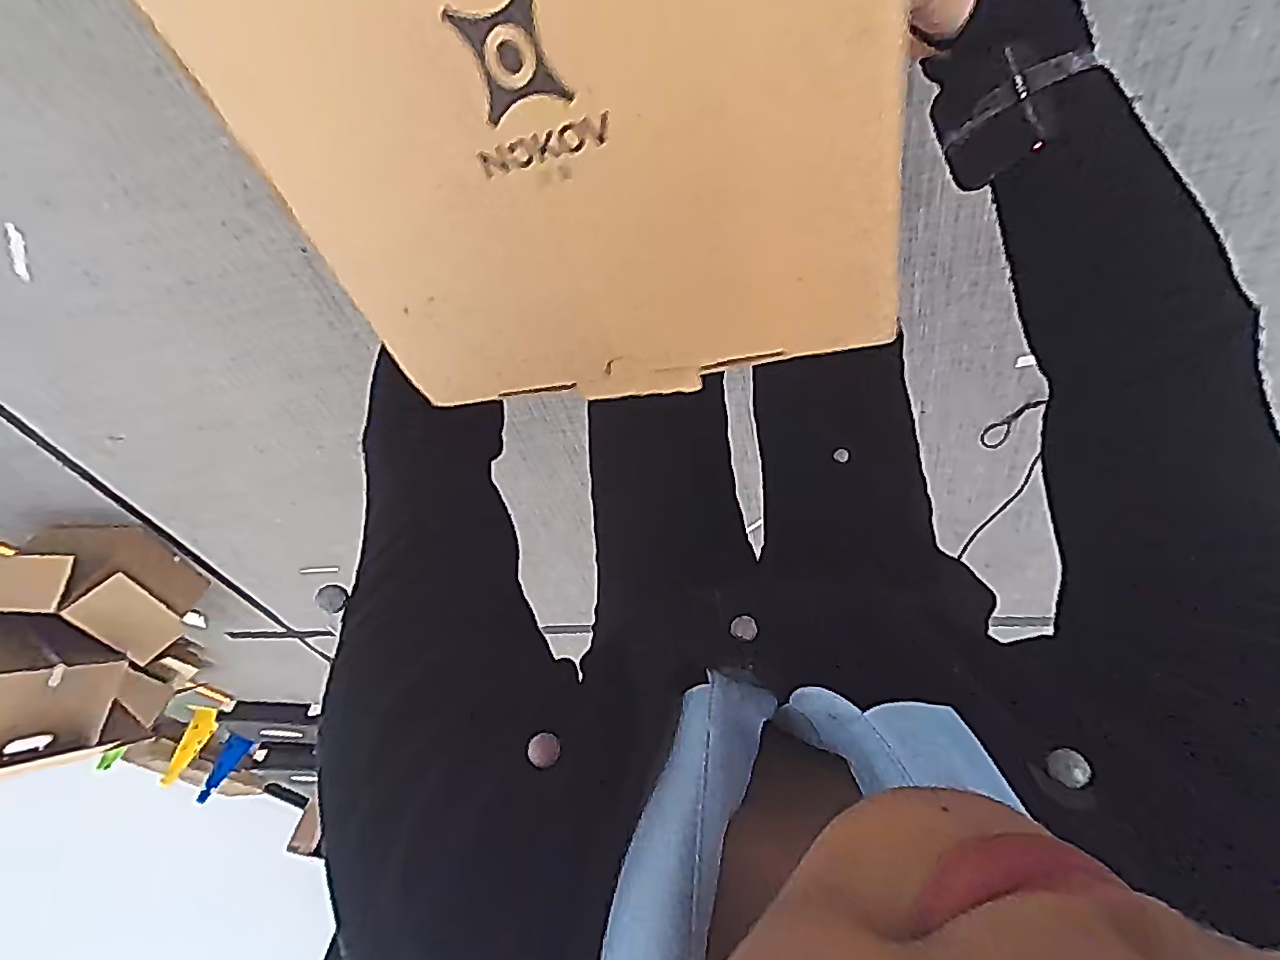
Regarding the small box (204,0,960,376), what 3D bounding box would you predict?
[{"bbox_3d":[-0.006,-0.163,0.174,0.168,0.176,0.179,-5,137,19],"label":"small box"}]
